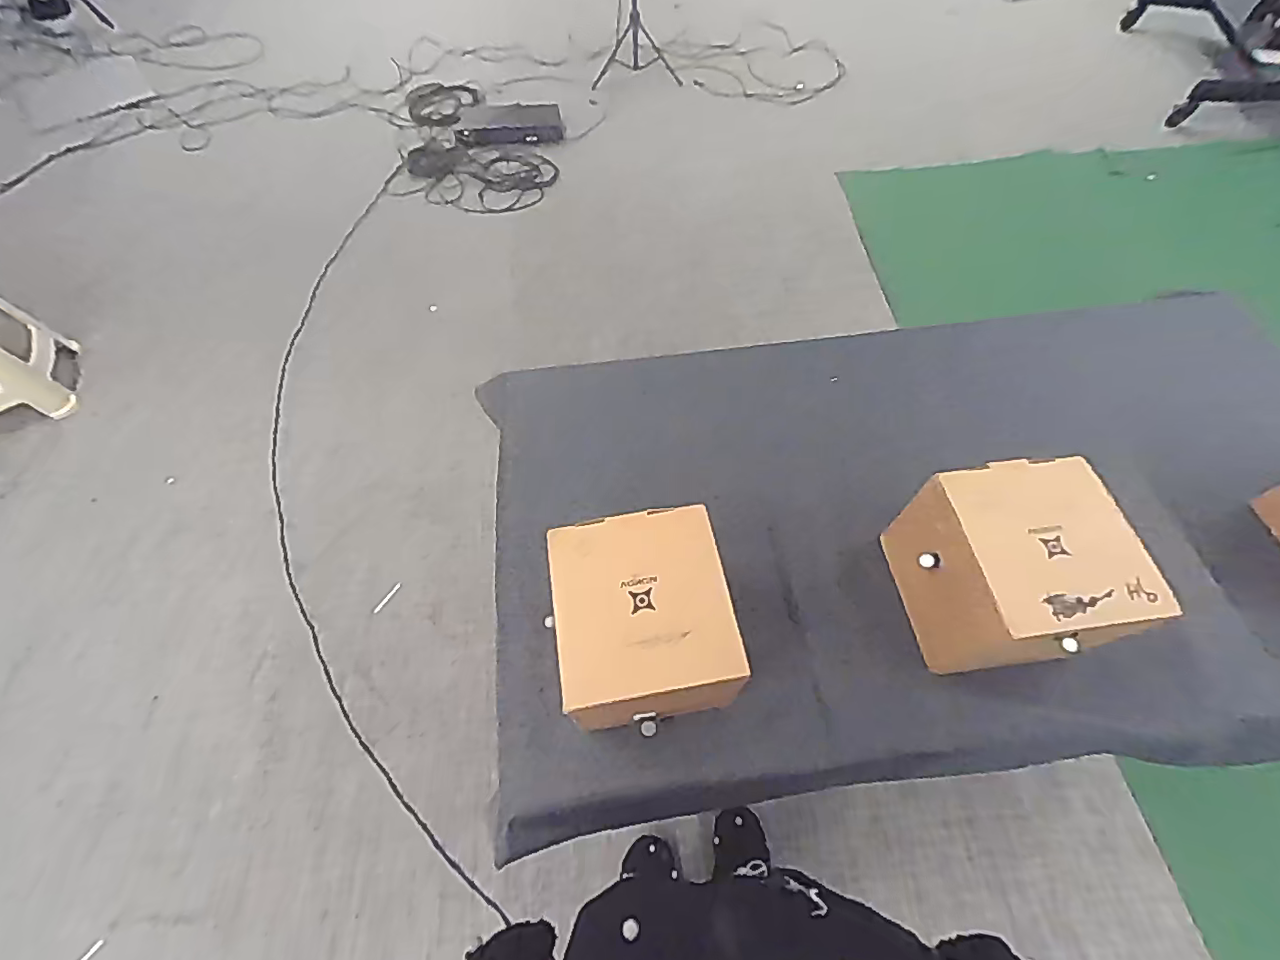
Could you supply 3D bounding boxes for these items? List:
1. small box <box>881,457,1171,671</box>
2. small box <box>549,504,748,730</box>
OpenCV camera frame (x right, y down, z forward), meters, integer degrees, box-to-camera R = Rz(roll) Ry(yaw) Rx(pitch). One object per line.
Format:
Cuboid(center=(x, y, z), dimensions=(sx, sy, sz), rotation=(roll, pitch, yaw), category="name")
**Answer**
Cuboid(center=(0.398, 0.098, 0.603), dimensions=(0.168, 0.176, 0.179), rotation=(-7, 59, -2), category="small box")
Cuboid(center=(0.003, 0.152, 0.581), dimensions=(0.168, 0.176, 0.179), rotation=(-11, 59, -4), category="small box")
